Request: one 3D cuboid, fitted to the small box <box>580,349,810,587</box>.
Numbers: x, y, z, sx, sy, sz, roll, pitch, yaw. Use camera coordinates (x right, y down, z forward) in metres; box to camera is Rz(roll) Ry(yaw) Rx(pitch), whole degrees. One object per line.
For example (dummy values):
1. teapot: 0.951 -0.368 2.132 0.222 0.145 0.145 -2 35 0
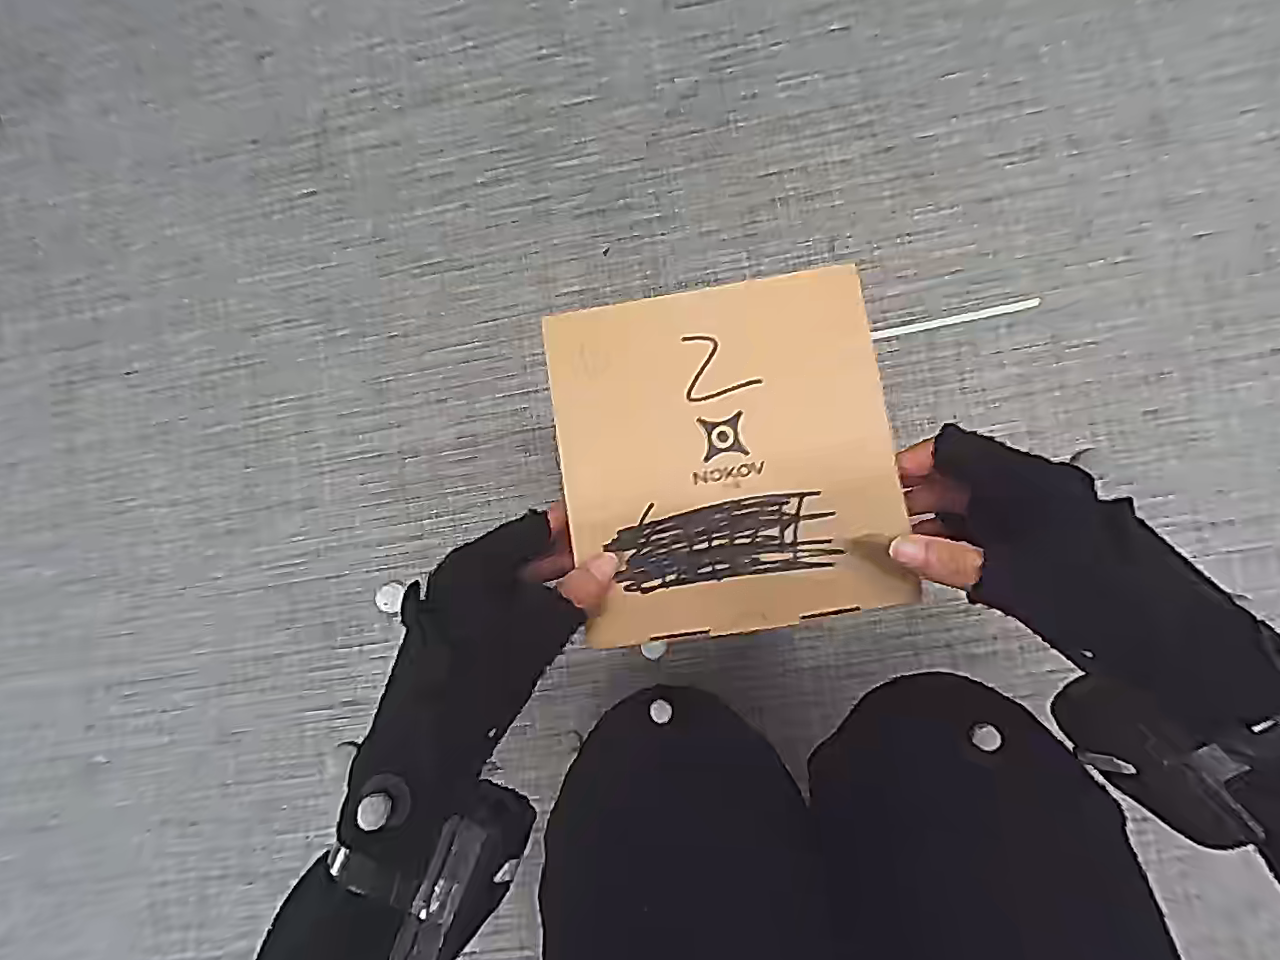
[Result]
1. small box: 0.049 -0.003 0.522 0.168 0.176 0.179 -11 85 5
